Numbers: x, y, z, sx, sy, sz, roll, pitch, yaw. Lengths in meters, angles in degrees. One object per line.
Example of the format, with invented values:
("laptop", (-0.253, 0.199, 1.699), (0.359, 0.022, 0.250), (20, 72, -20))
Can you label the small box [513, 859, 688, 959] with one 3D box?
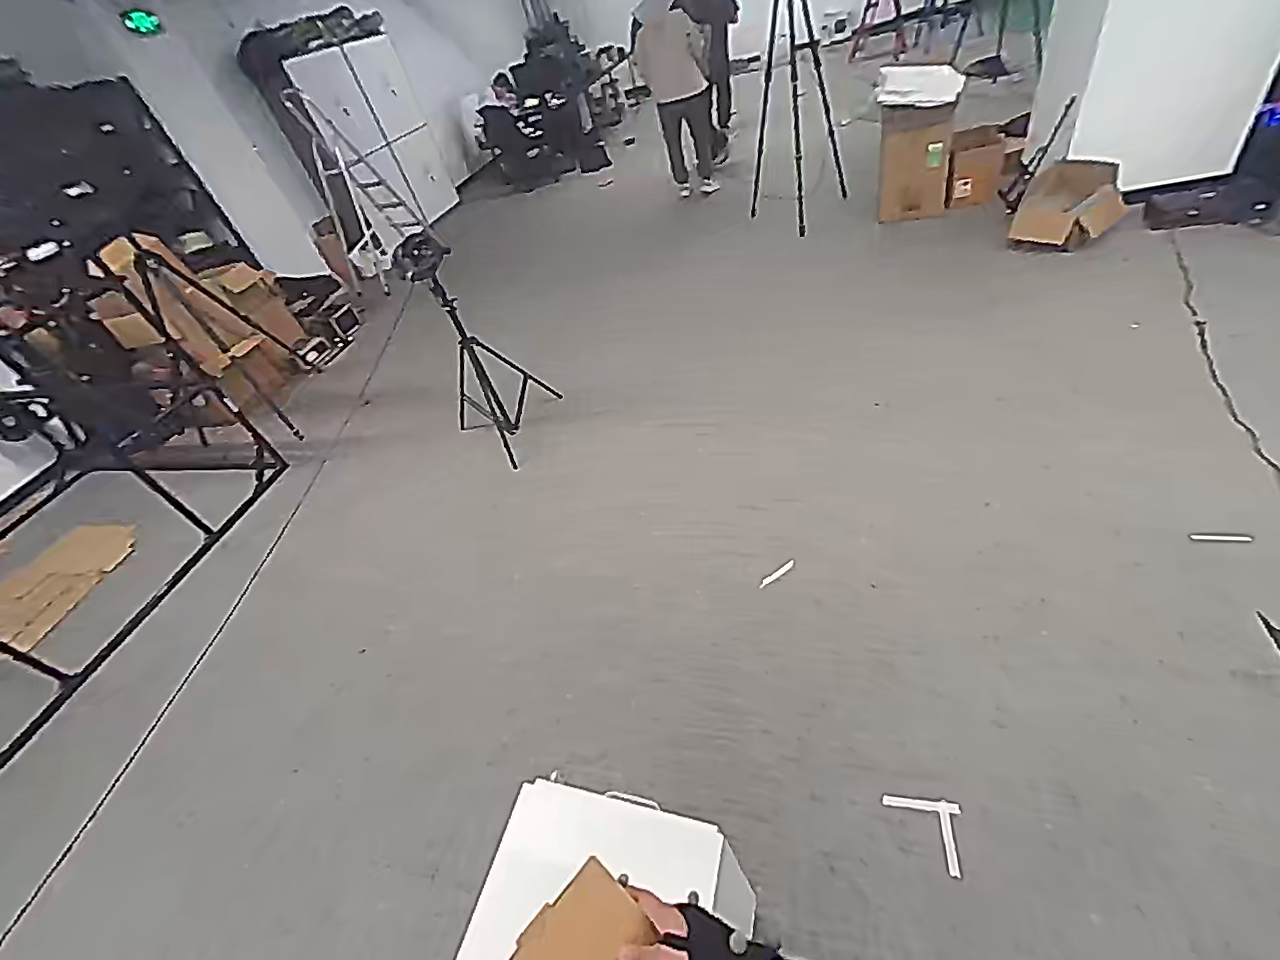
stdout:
("small box", (-0.041, 0.552, 0.567), (0.179, 0.176, 0.168), (33, 51, 27))
